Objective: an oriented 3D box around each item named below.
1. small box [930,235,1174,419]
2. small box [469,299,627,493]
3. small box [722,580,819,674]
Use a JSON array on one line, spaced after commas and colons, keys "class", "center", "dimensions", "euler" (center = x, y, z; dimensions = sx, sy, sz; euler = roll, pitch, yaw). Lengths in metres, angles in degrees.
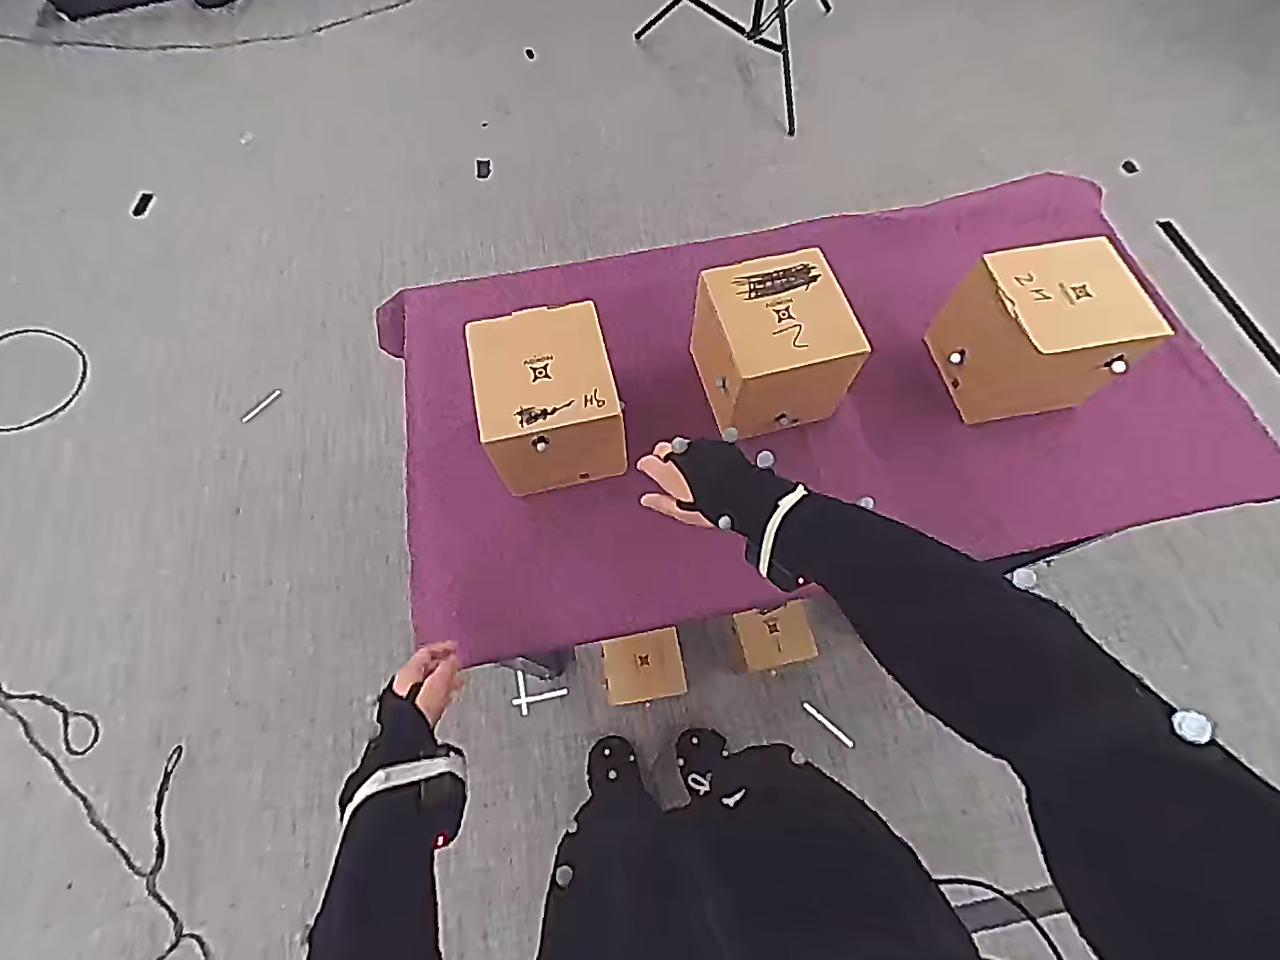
[{"class": "small box", "center": [0.545, -0.203, 0.747], "dimensions": [0.179, 0.176, 0.168], "euler": [-10, 66, -2]}, {"class": "small box", "center": [-0.116, -0.106, 0.721], "dimensions": [0.168, 0.176, 0.179], "euler": [-13, 67, -4]}, {"class": "small box", "center": [0.304, 0.358, 1.304], "dimensions": [0.168, 0.176, 0.179], "euler": [-12, 68, -3]}]
